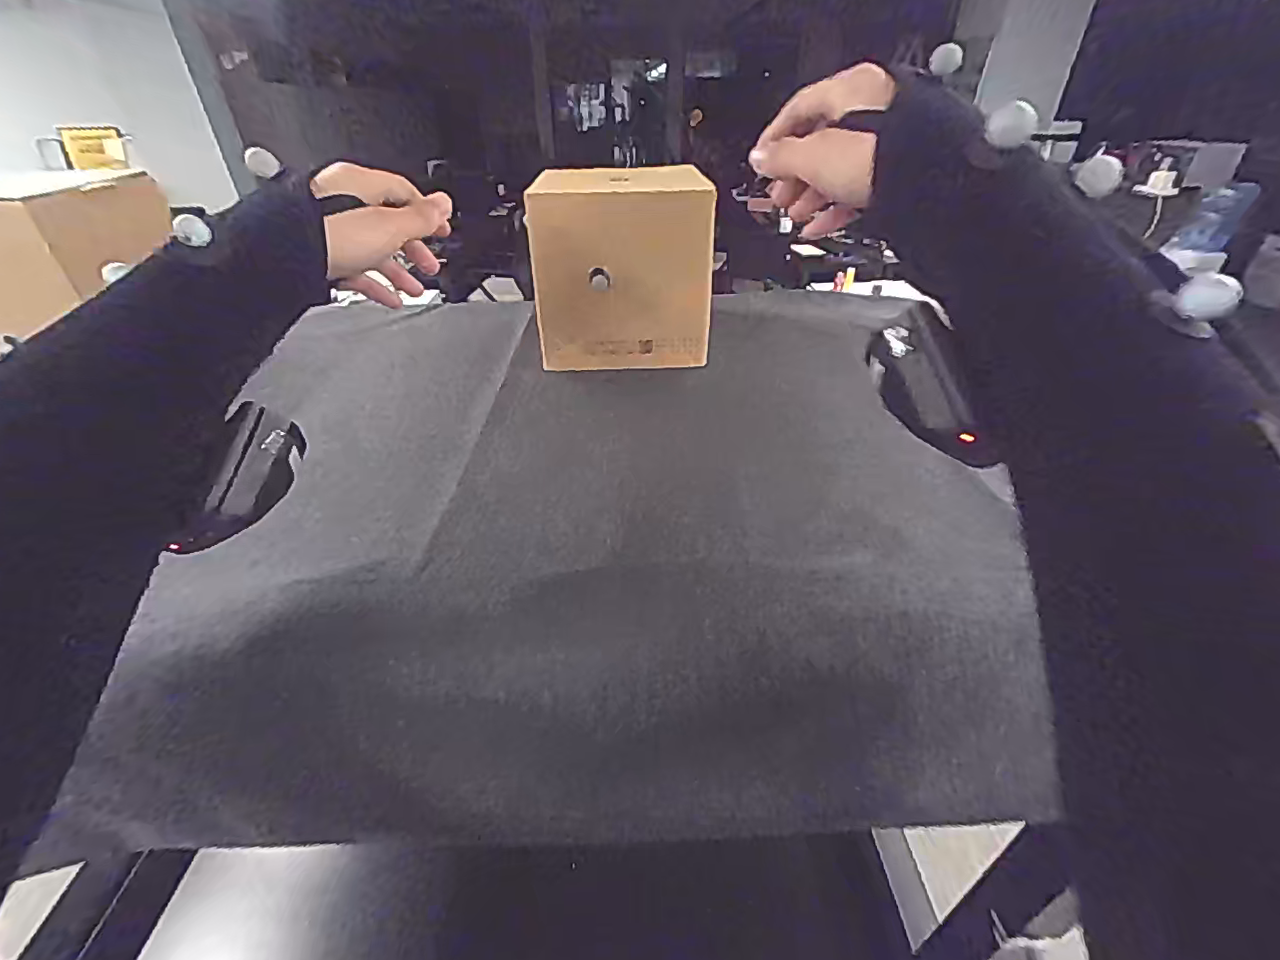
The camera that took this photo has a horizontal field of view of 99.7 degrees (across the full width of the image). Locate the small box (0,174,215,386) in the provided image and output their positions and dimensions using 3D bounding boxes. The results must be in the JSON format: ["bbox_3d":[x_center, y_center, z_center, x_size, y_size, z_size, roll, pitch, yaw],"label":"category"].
[{"bbox_3d":[-0.595,-0.204,0.553,0.179,0.176,0.168,-1,35,-3],"label":"small box"}]

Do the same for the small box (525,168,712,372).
[{"bbox_3d":[-0.018,-0.222,0.573,0.168,0.176,0.179,-2,35,-1],"label":"small box"}]
